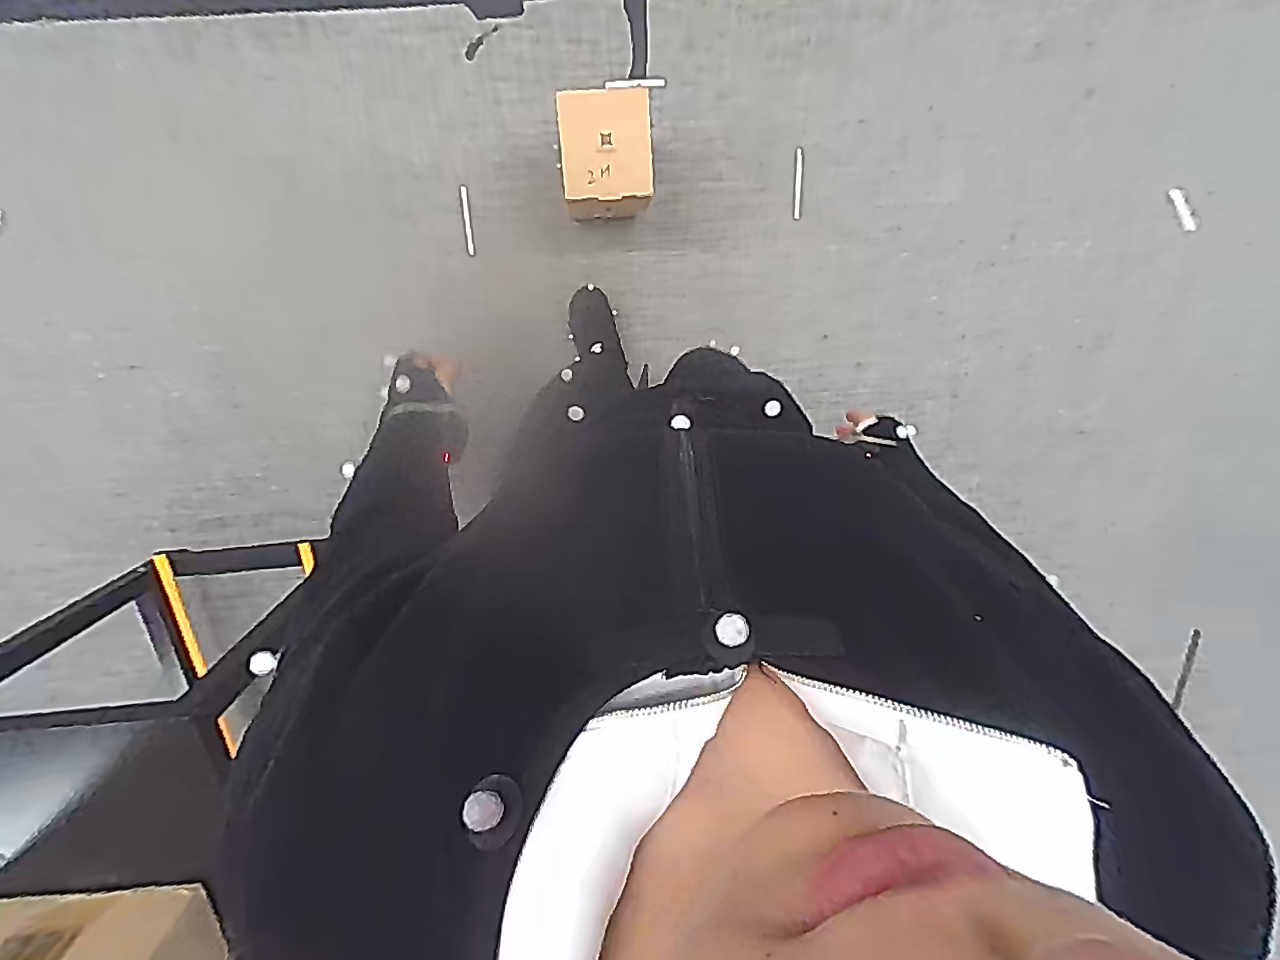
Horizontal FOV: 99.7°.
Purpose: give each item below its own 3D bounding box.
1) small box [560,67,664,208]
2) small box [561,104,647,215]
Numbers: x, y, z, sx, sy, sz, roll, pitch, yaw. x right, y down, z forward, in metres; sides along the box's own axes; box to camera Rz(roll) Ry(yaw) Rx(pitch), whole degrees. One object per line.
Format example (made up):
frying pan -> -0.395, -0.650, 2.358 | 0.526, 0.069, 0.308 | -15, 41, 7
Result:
small box -> -0.049, -0.598, 0.963 | 0.168, 0.176, 0.179 | -5, 109, -2
small box -> -0.069, -0.659, 1.116 | 0.168, 0.176, 0.179 | -5, 110, -2
